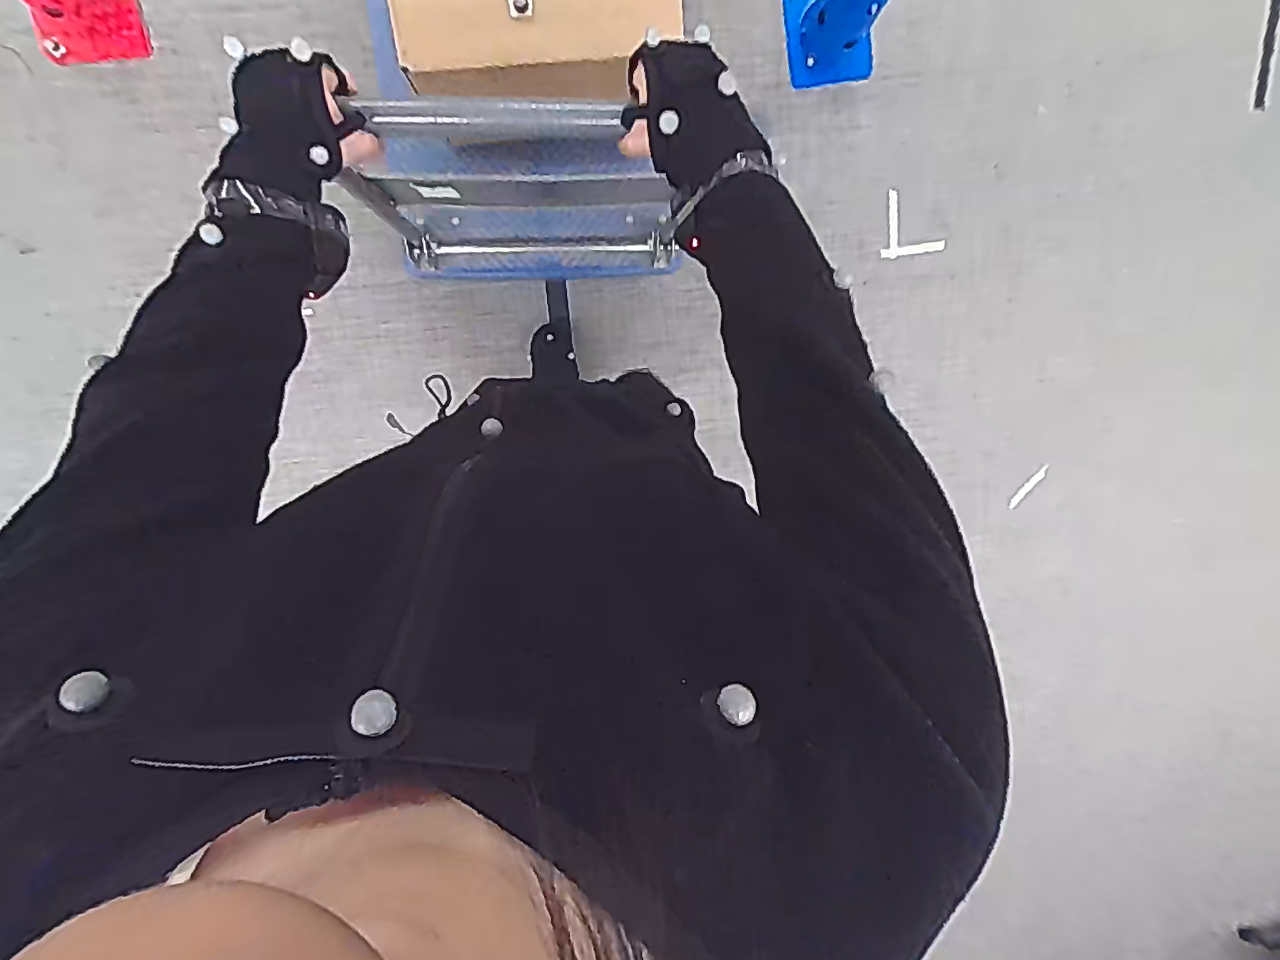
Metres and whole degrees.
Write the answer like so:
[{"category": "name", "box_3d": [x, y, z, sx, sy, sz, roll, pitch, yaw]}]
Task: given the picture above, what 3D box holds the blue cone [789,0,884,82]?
[{"category": "blue cone", "box_3d": [0.457, -0.981, 1.072, 0.193, 0.380, 0.192, -11, 105, -4]}]
